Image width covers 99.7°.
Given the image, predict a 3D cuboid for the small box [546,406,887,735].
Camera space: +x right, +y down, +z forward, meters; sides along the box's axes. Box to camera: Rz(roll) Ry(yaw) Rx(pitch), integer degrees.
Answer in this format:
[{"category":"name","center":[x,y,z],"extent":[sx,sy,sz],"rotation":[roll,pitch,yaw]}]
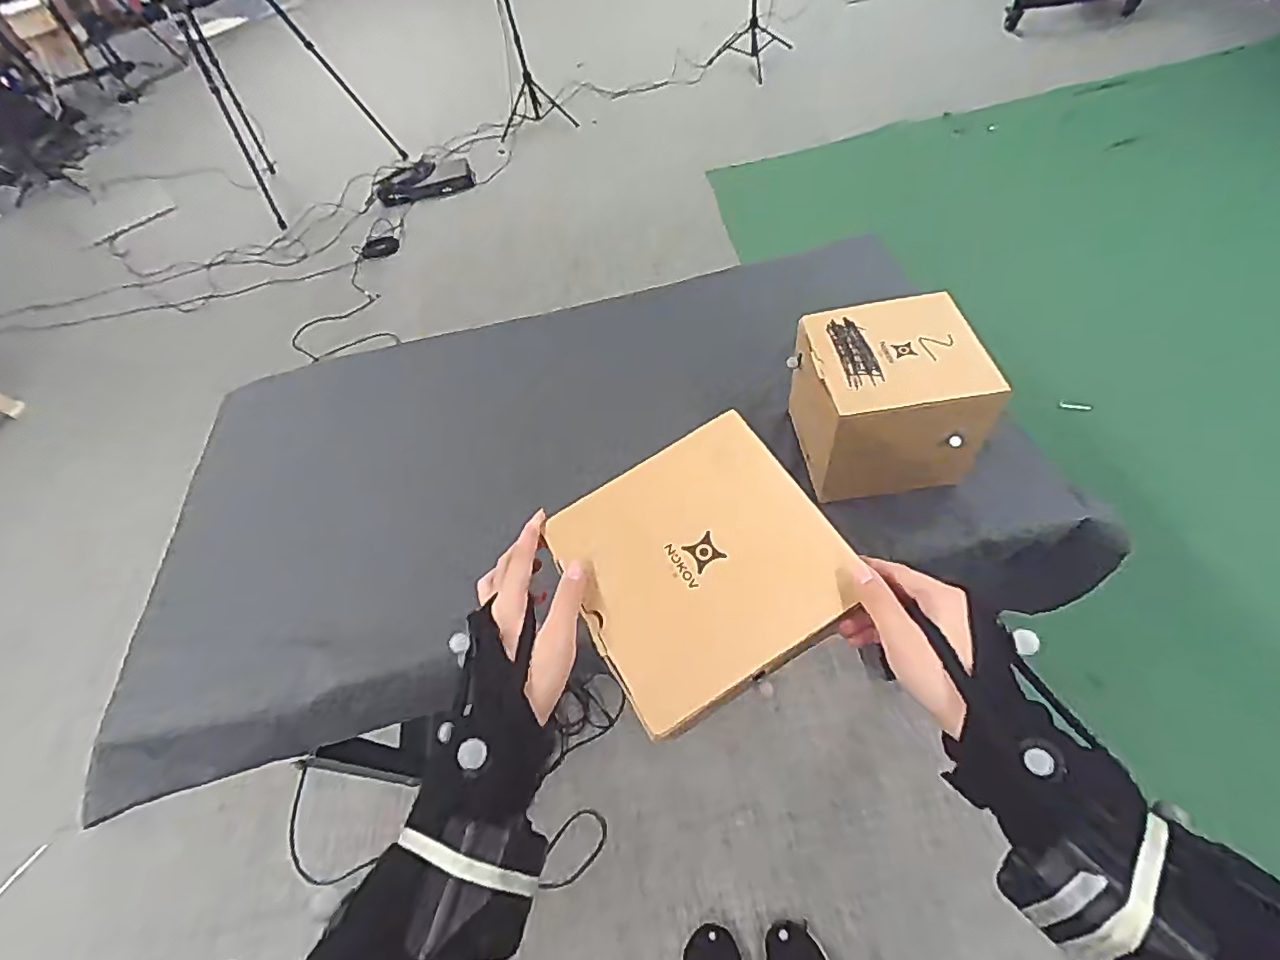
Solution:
[{"category":"small box","center":[0.054,0.079,0.436],"extent":[0.179,0.176,0.168],"rotation":[-32,65,-6]}]
